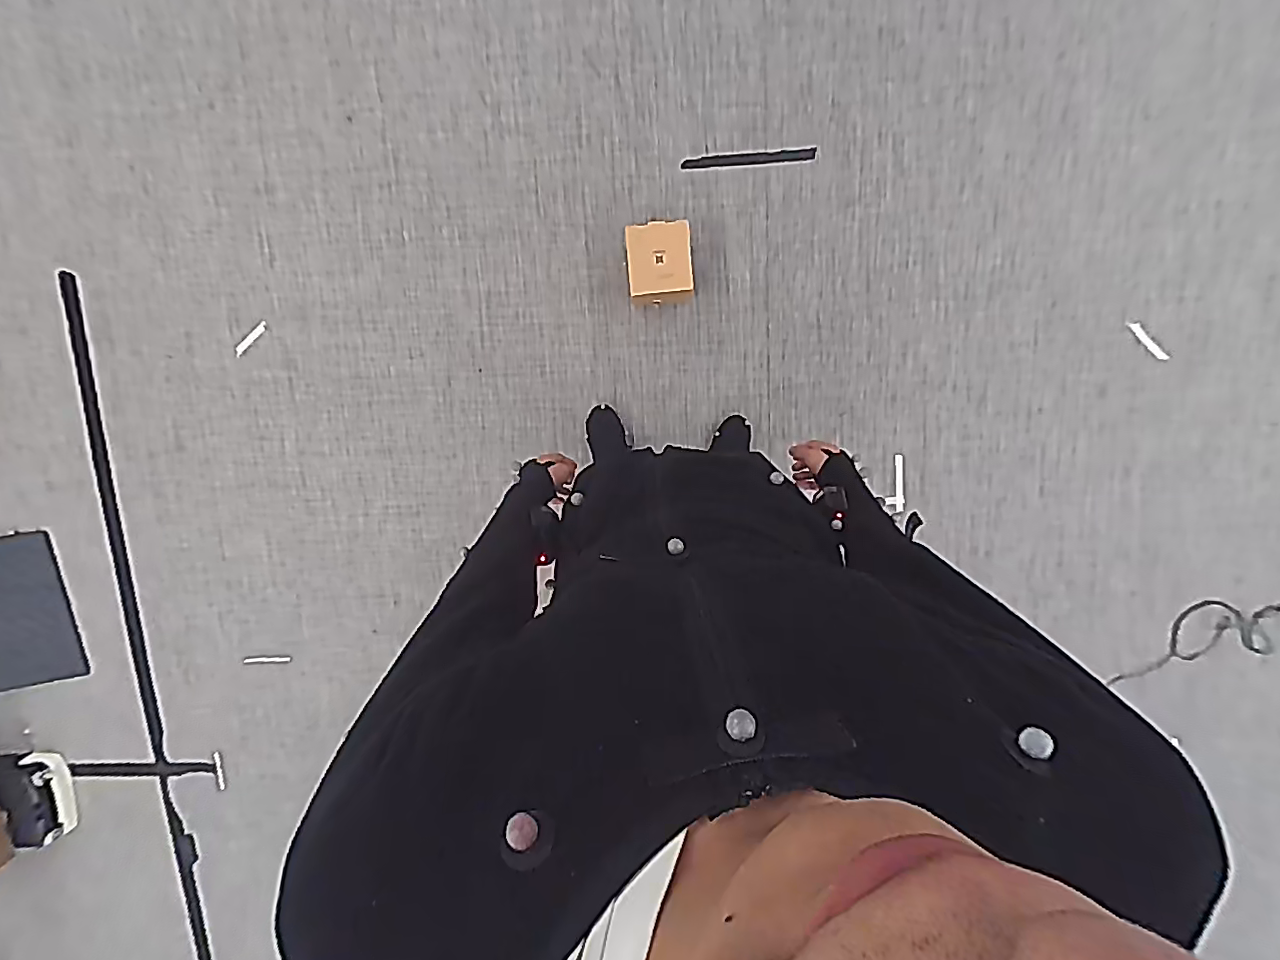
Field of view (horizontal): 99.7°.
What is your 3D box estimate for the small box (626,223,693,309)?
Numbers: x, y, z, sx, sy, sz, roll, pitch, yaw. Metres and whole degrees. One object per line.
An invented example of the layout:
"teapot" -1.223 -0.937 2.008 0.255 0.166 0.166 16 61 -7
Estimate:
"small box" 0.052 -0.576 1.470 0.168 0.176 0.179 -5 99 3
